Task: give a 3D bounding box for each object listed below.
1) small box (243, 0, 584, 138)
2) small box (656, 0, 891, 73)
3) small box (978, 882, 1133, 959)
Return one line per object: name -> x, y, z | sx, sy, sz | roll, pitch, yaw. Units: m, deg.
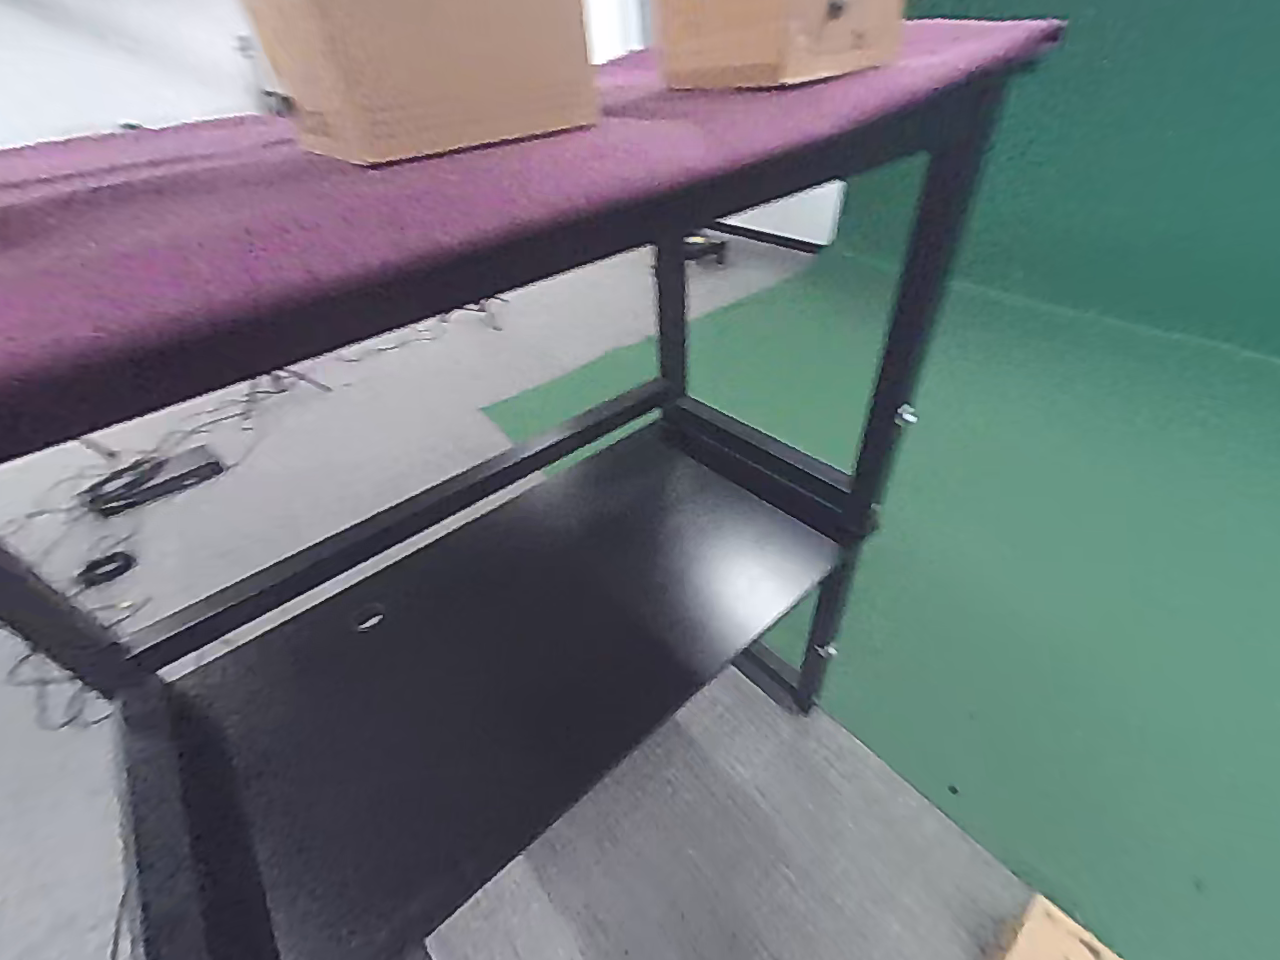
small box -> -0.157, -0.333, 0.349 | 0.179, 0.176, 0.168 | -30, 45, -27
small box -> 0.122, -0.497, 0.508 | 0.168, 0.176, 0.179 | -30, 45, -24
small box -> 0.778, 0.928, 1.029 | 0.179, 0.176, 0.168 | -33, 47, -27
